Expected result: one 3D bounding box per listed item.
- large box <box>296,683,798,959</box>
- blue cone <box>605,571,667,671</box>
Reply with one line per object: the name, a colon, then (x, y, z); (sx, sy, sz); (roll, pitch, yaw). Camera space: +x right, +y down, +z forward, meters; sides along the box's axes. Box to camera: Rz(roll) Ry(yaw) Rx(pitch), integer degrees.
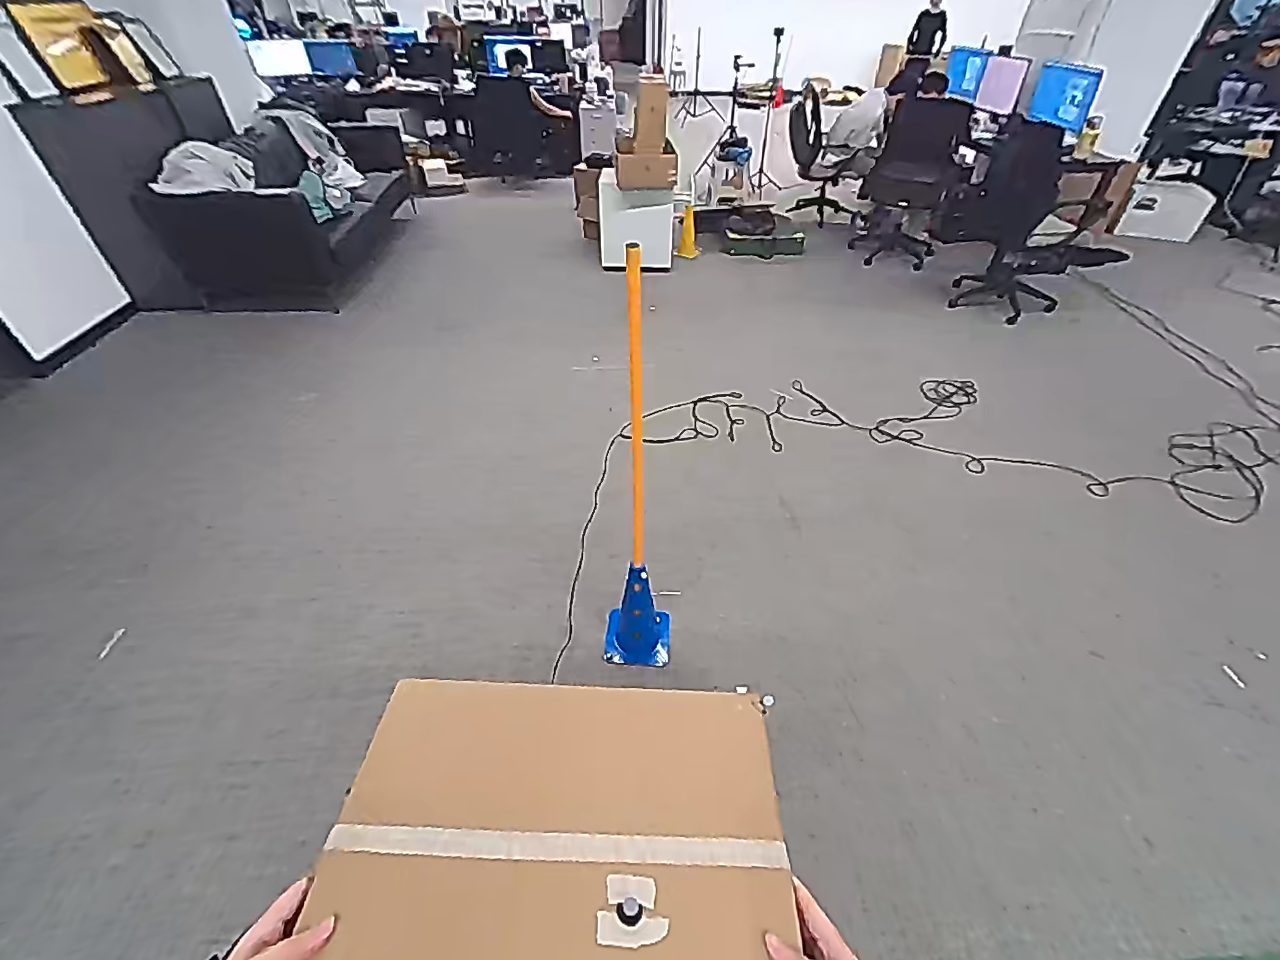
large box: (-0.078, 0.447, 0.582); (0.408, 0.320, 0.320); (3, 38, -1)
blue cone: (-0.010, 0.392, 1.610); (0.193, 0.380, 0.192); (4, 42, 4)
